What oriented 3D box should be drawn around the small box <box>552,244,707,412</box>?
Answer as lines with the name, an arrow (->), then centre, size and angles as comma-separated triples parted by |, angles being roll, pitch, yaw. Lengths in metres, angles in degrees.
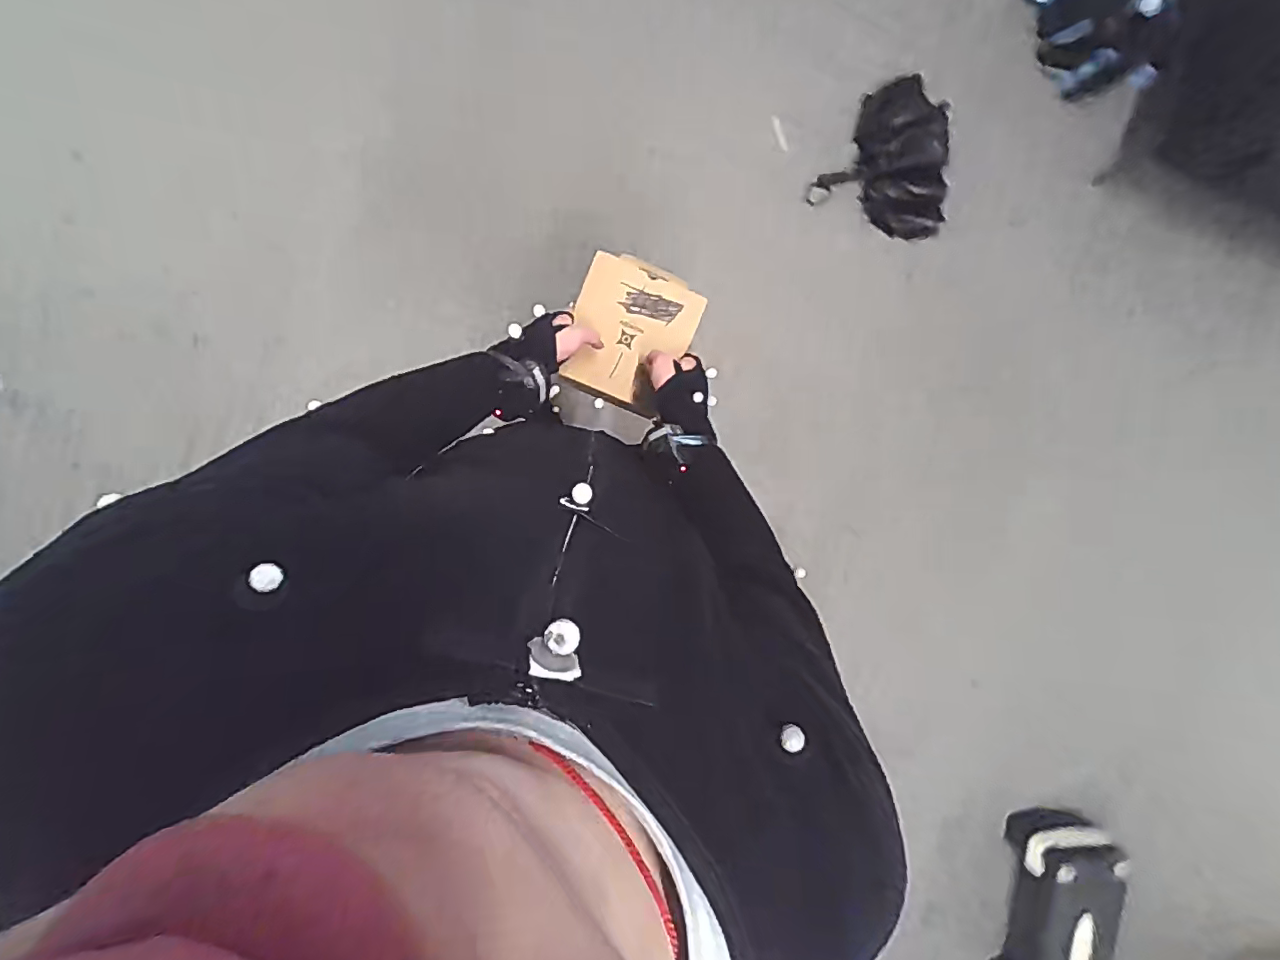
small box -> -0.020, -0.211, 0.804 | 0.168, 0.176, 0.179 | 21, 94, -5
